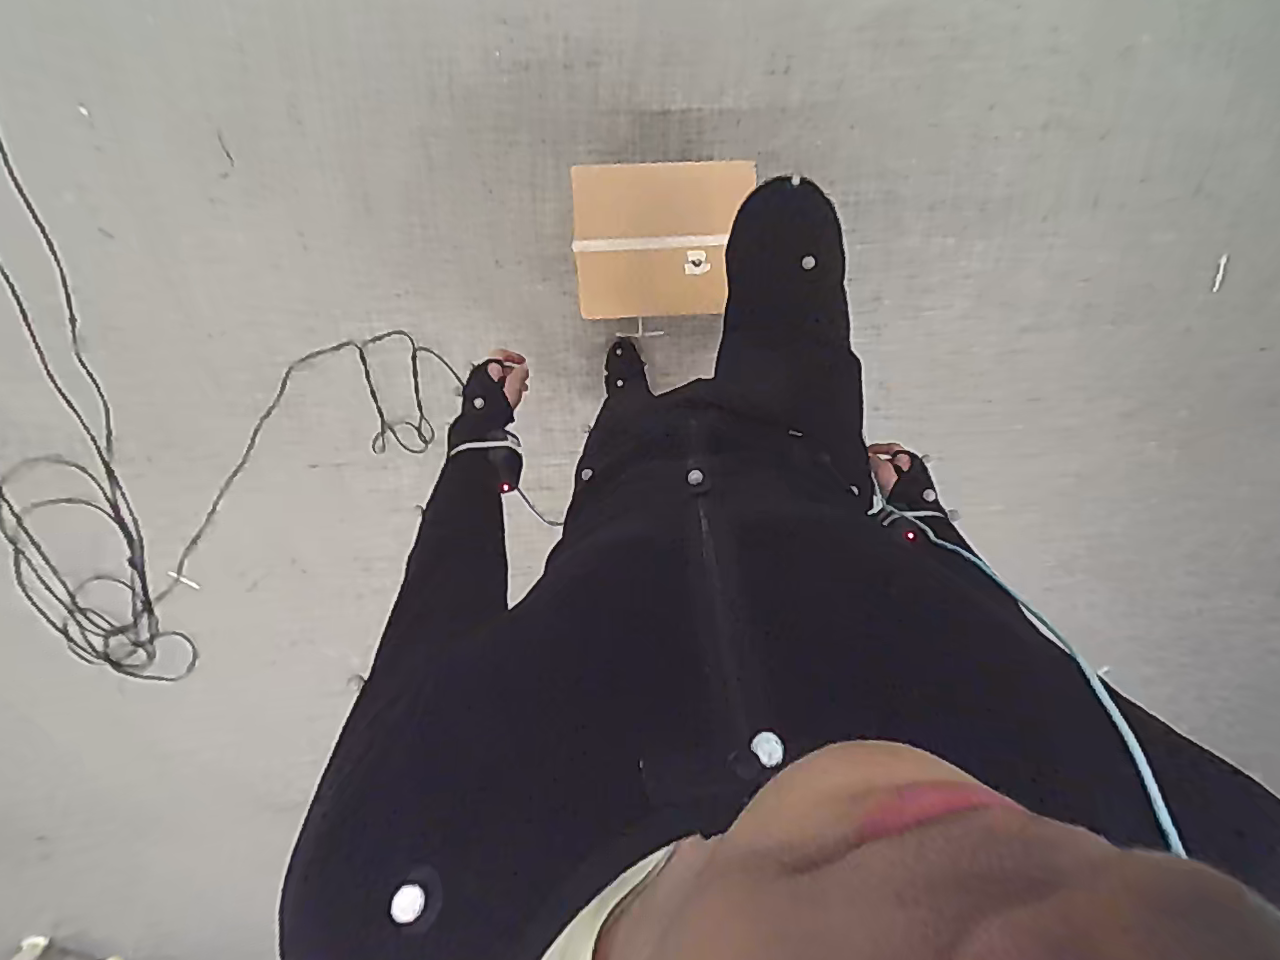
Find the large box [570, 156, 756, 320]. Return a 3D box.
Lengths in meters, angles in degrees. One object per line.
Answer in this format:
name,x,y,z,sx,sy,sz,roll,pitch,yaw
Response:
large box,0.047,-0.577,1.344,0.408,0.320,0.320,-5,107,-4
